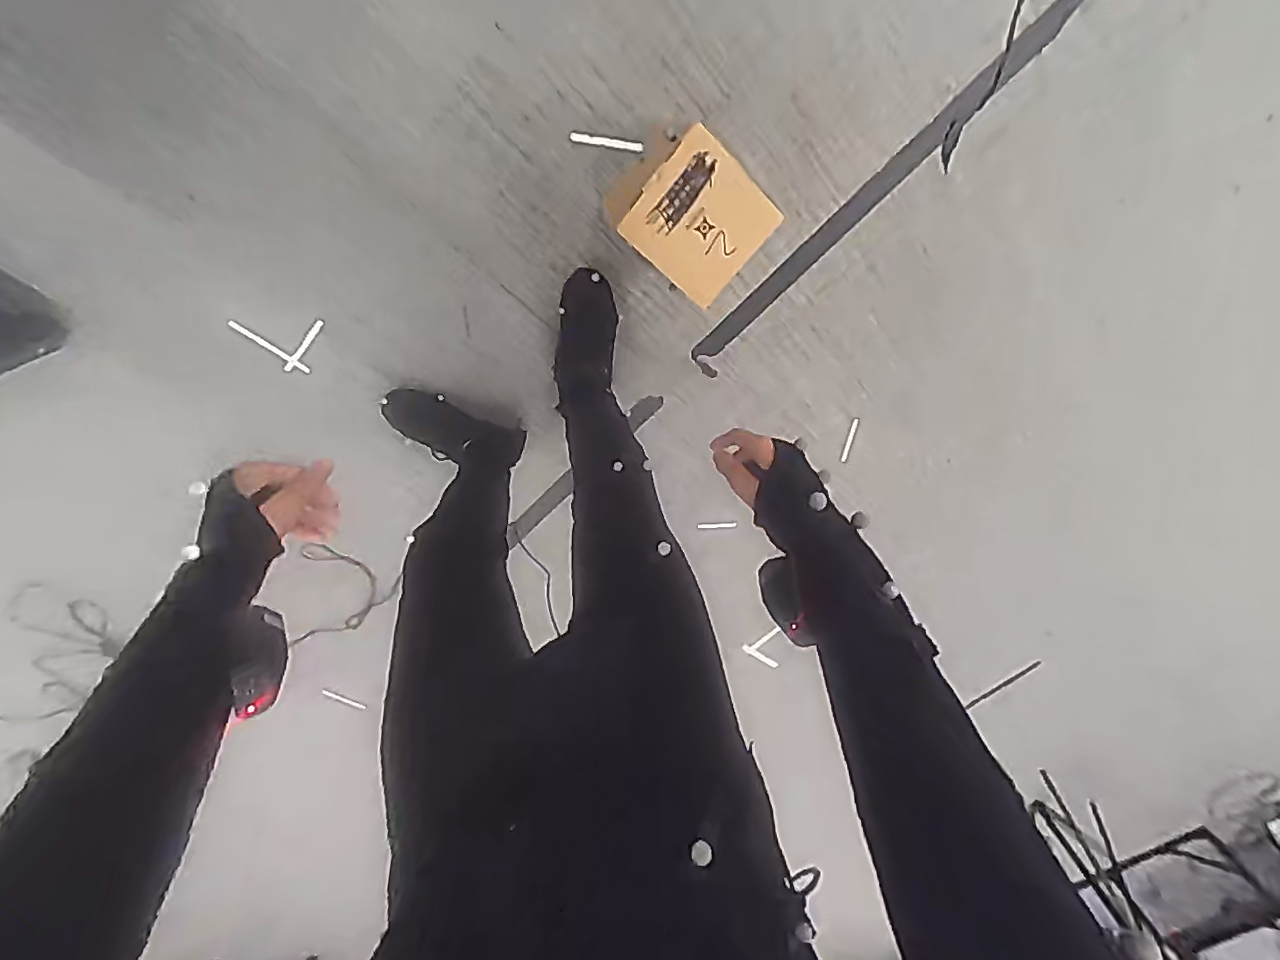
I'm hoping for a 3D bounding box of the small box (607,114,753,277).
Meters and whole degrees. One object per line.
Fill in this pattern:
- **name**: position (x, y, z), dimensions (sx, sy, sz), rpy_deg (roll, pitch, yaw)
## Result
- **small box**: position (0.057, -0.489, 0.927), dimensions (0.168, 0.176, 0.179), rpy_deg (37, 112, -27)
